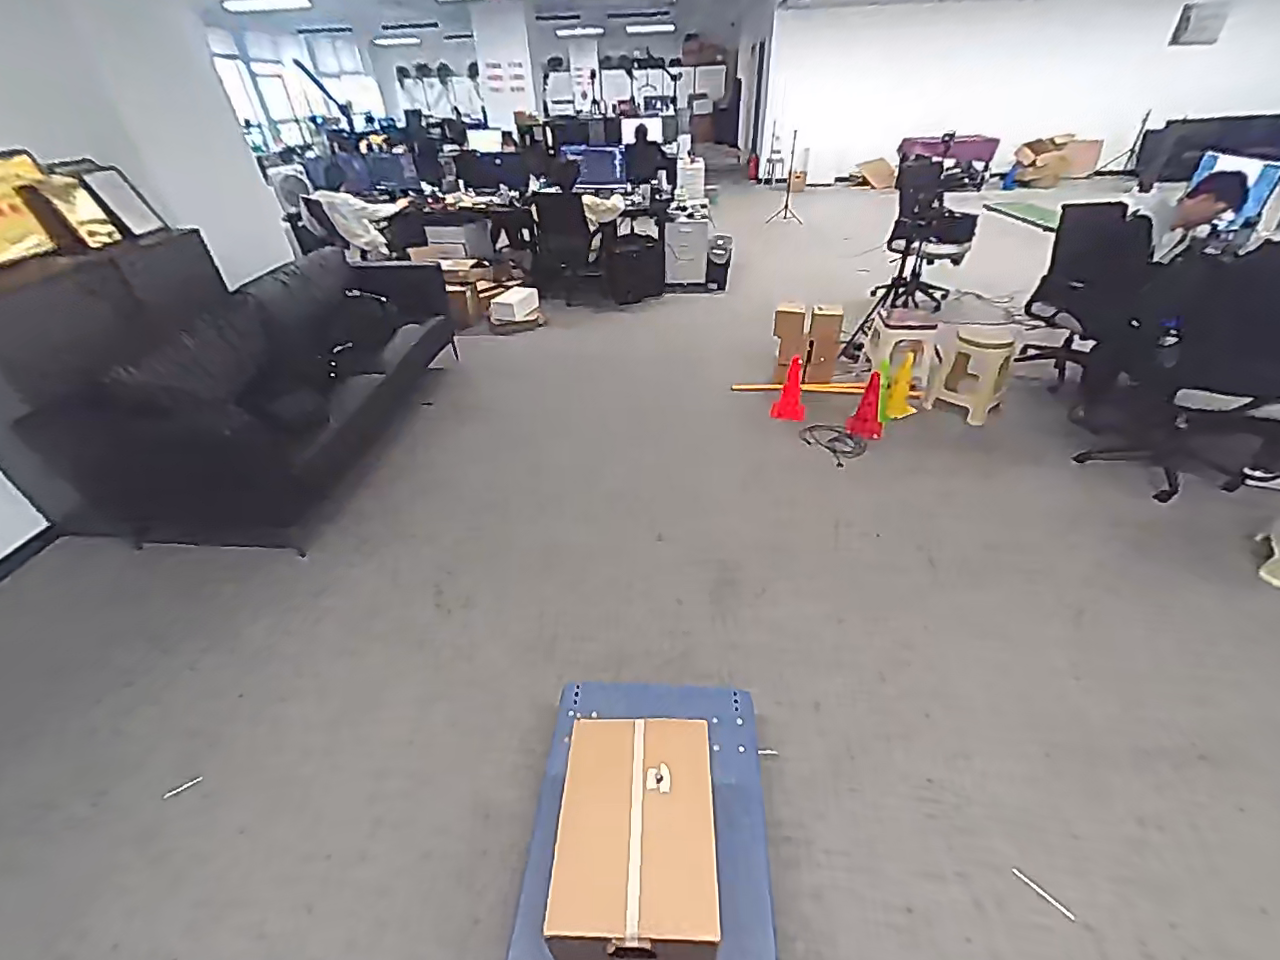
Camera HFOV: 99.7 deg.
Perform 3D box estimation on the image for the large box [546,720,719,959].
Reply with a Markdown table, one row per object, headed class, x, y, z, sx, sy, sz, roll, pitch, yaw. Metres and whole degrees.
| class | x | y | z | sx | sy | sz | roll | pitch | yaw |
| --- | --- | --- | --- | --- | --- | --- | --- | --- | --- |
| large box | -0.003 | 0.802 | 1.194 | 0.320 | 0.320 | 0.408 | -1 | 36 | 3 |
